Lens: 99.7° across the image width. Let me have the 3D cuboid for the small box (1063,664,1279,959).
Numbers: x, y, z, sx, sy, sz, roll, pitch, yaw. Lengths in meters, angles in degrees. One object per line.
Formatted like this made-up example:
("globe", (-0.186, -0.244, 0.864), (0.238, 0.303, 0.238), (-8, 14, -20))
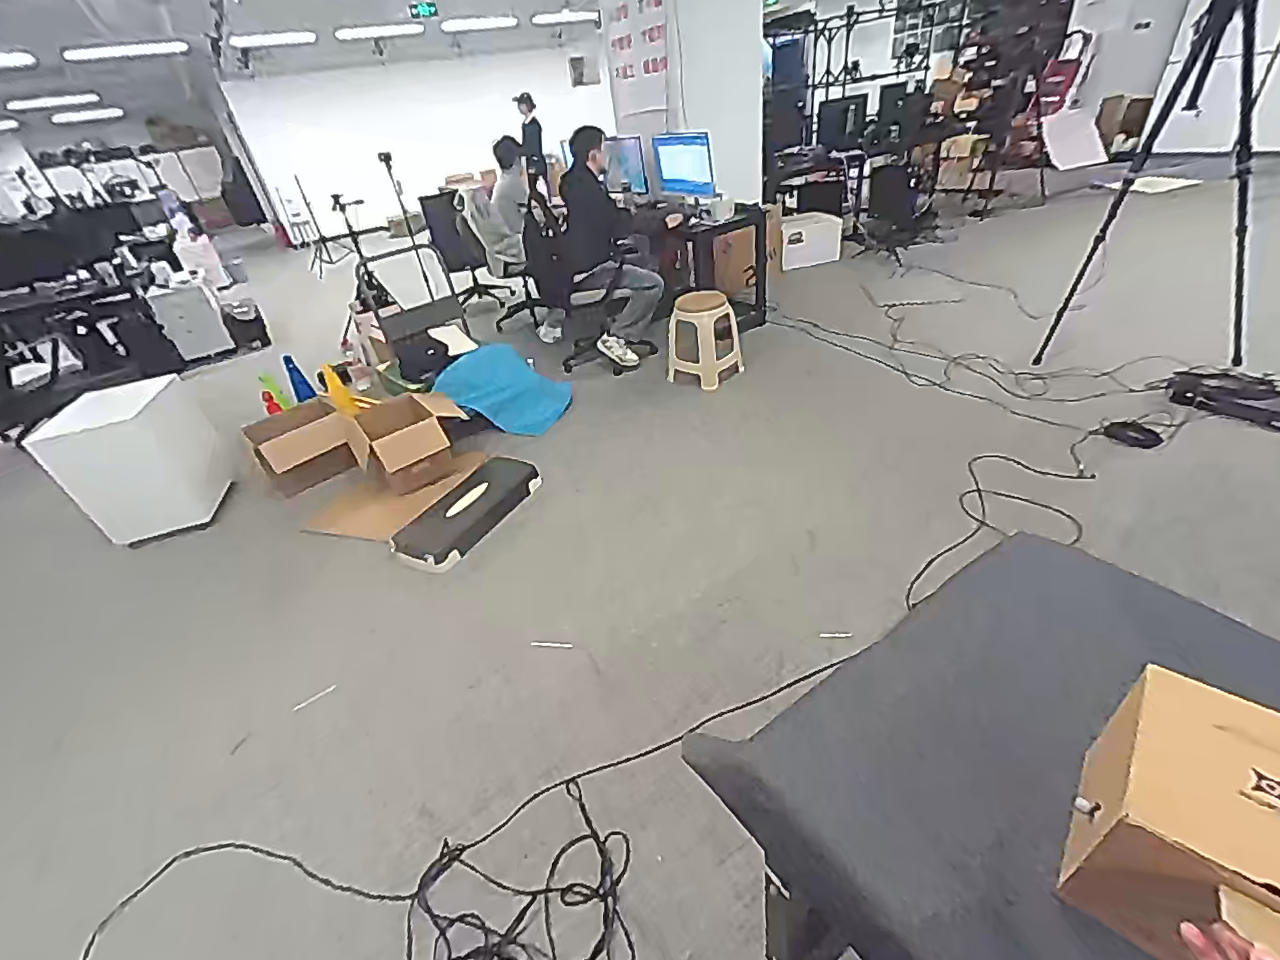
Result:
("small box", (0.492, 0.304, 0.458), (0.168, 0.176, 0.179), (22, 43, 35))
